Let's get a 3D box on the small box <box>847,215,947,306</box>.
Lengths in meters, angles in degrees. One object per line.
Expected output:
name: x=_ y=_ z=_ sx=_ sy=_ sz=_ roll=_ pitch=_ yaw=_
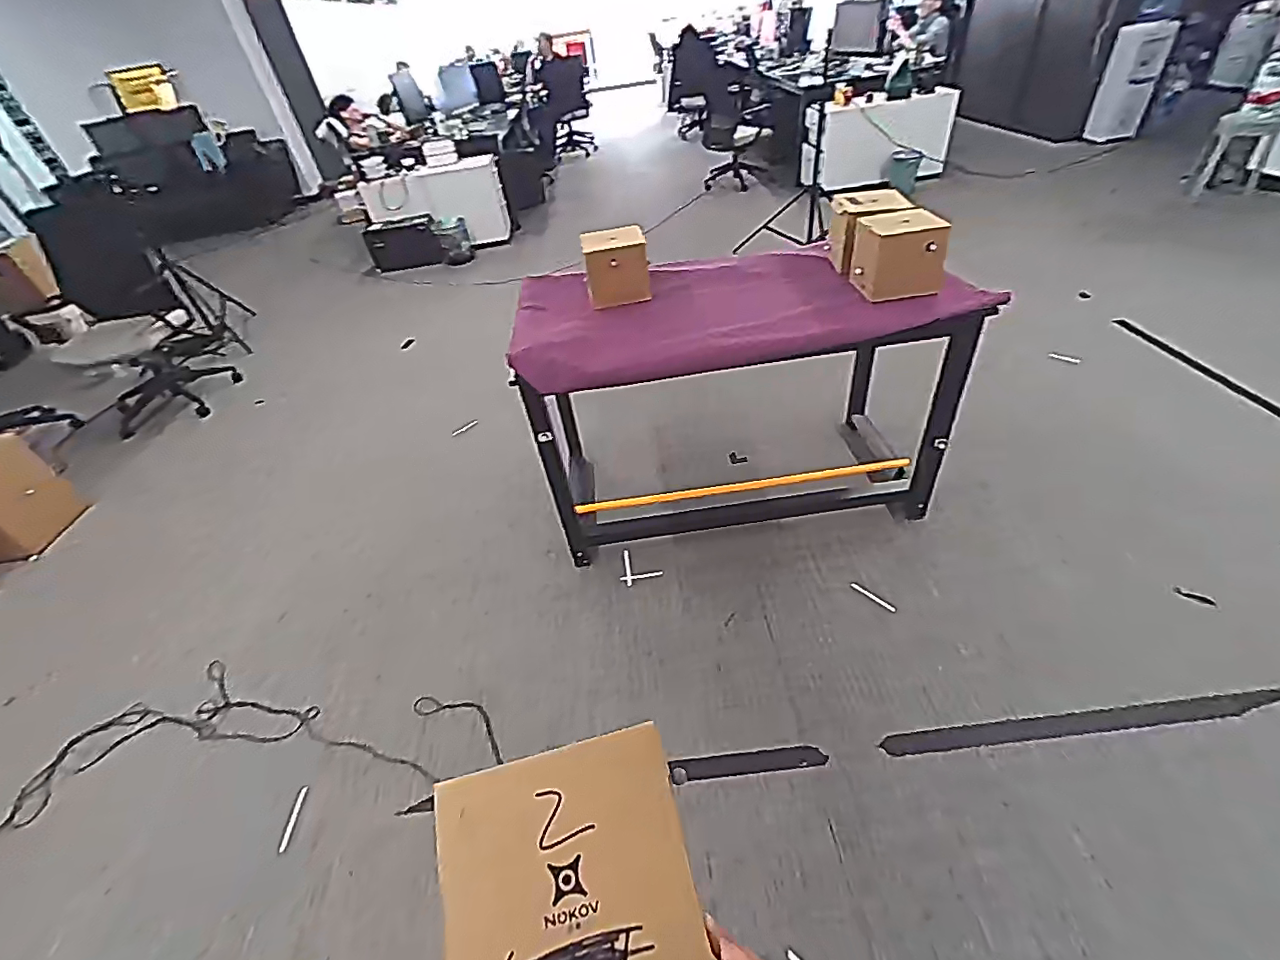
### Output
small box: x=0.663 y=-0.574 z=1.418 sx=0.179 sy=0.176 sz=0.168 roll=-8 pitch=39 yaw=2

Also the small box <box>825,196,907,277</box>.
small box: x=0.645 y=-0.704 z=1.569 sx=0.179 sy=0.176 sz=0.168 roll=-4 pitch=43 yaw=5

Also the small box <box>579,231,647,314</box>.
small box: x=-0.077 y=-0.610 z=1.593 sx=0.179 sy=0.176 sz=0.168 roll=-11 pitch=41 yaw=-2
